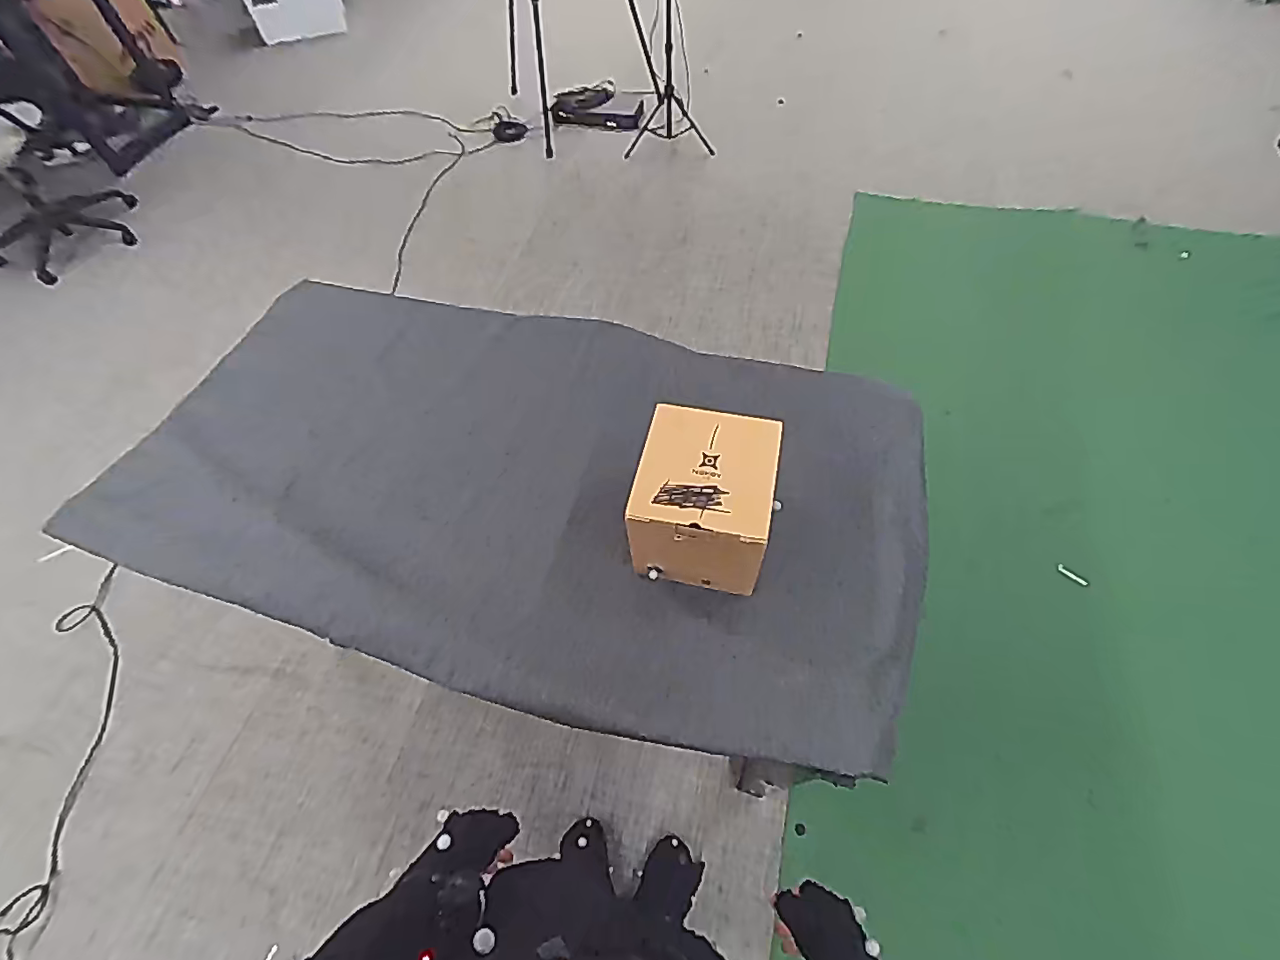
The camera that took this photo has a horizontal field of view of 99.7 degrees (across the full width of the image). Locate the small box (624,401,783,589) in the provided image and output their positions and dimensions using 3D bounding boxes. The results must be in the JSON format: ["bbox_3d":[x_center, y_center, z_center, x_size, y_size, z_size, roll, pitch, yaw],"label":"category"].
[{"bbox_3d":[0.085,0.024,0.713,0.168,0.176,0.179,10,58,10],"label":"small box"}]
